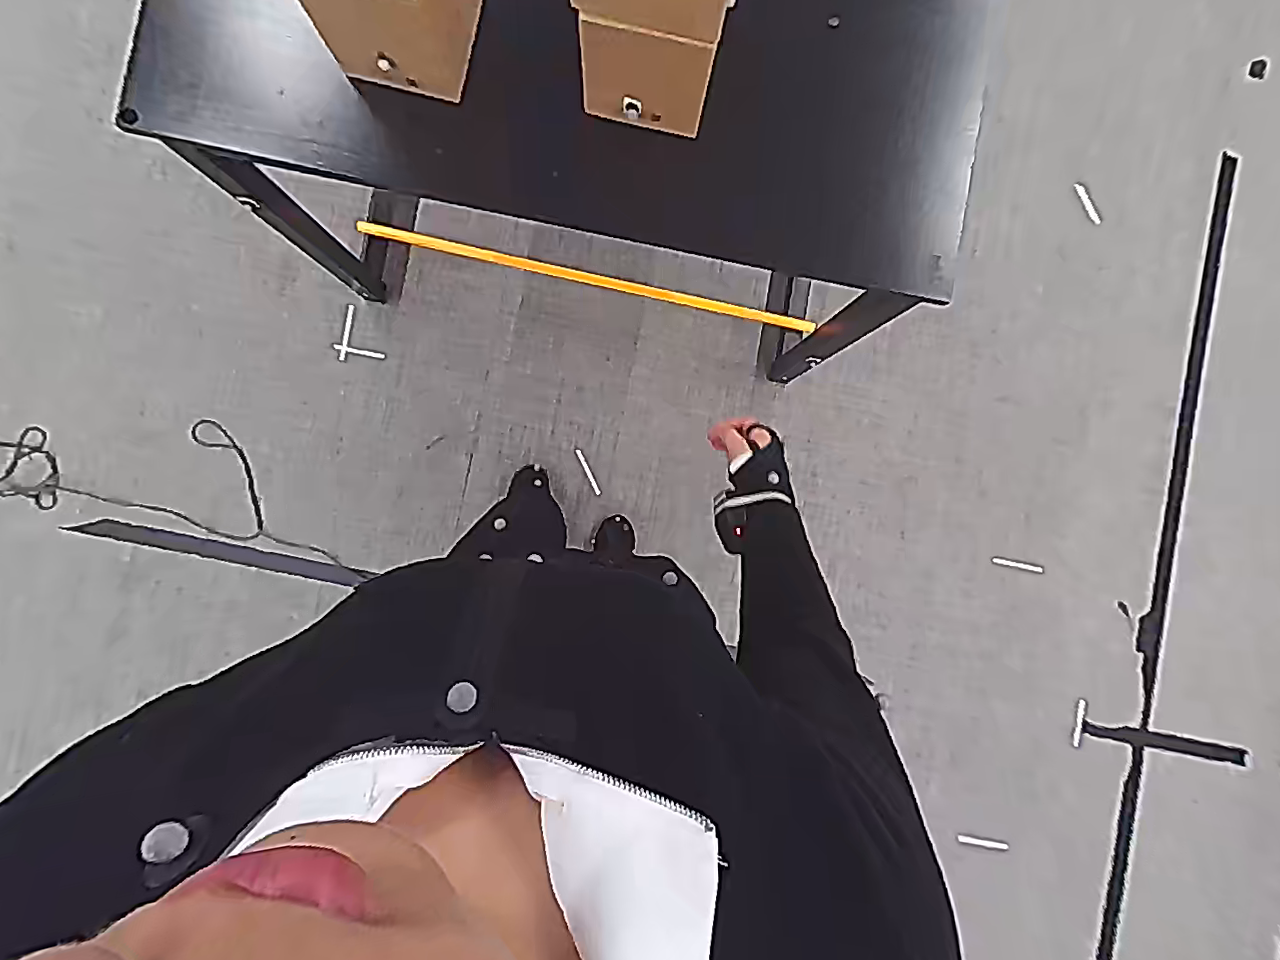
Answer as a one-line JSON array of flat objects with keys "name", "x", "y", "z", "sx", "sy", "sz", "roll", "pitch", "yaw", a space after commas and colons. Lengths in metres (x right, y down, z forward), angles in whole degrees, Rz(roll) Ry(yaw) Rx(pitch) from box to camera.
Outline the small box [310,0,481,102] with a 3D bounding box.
[{"name": "small box", "x": -0.313, "y": -0.639, "z": 0.688, "sx": 0.168, "sy": 0.176, "sz": 0.179, "roll": 12, "pitch": 88, "yaw": -3}]

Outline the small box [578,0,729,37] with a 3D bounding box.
[{"name": "small box", "x": 0.027, "y": -0.604, "z": 0.547, "sx": 0.179, "sy": 0.176, "sz": 0.168, "roll": 12, "pitch": 88, "yaw": -3}]

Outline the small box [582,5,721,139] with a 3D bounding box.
[{"name": "small box", "x": 0.022, "y": -0.598, "z": 0.712, "sx": 0.168, "sy": 0.176, "sz": 0.179, "roll": 10, "pitch": 89, "yaw": -2}]
